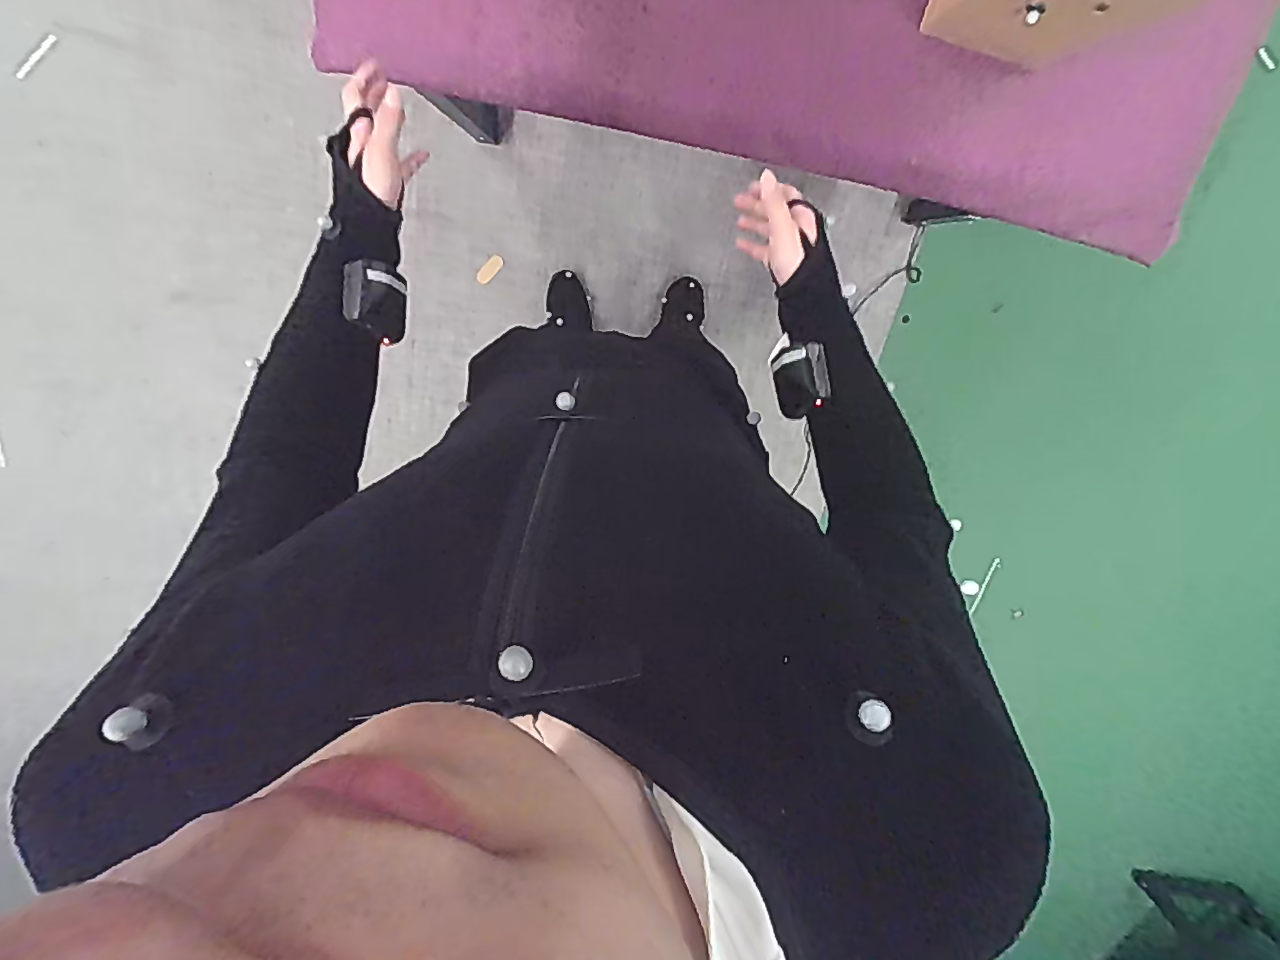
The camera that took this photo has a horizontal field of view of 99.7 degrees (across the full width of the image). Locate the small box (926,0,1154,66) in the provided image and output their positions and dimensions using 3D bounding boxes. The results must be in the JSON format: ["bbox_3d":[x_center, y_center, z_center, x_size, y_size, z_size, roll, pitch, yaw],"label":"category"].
[{"bbox_3d":[0.465,-0.605,0.608,0.179,0.176,0.168,11,111,-7],"label":"small box"}]
